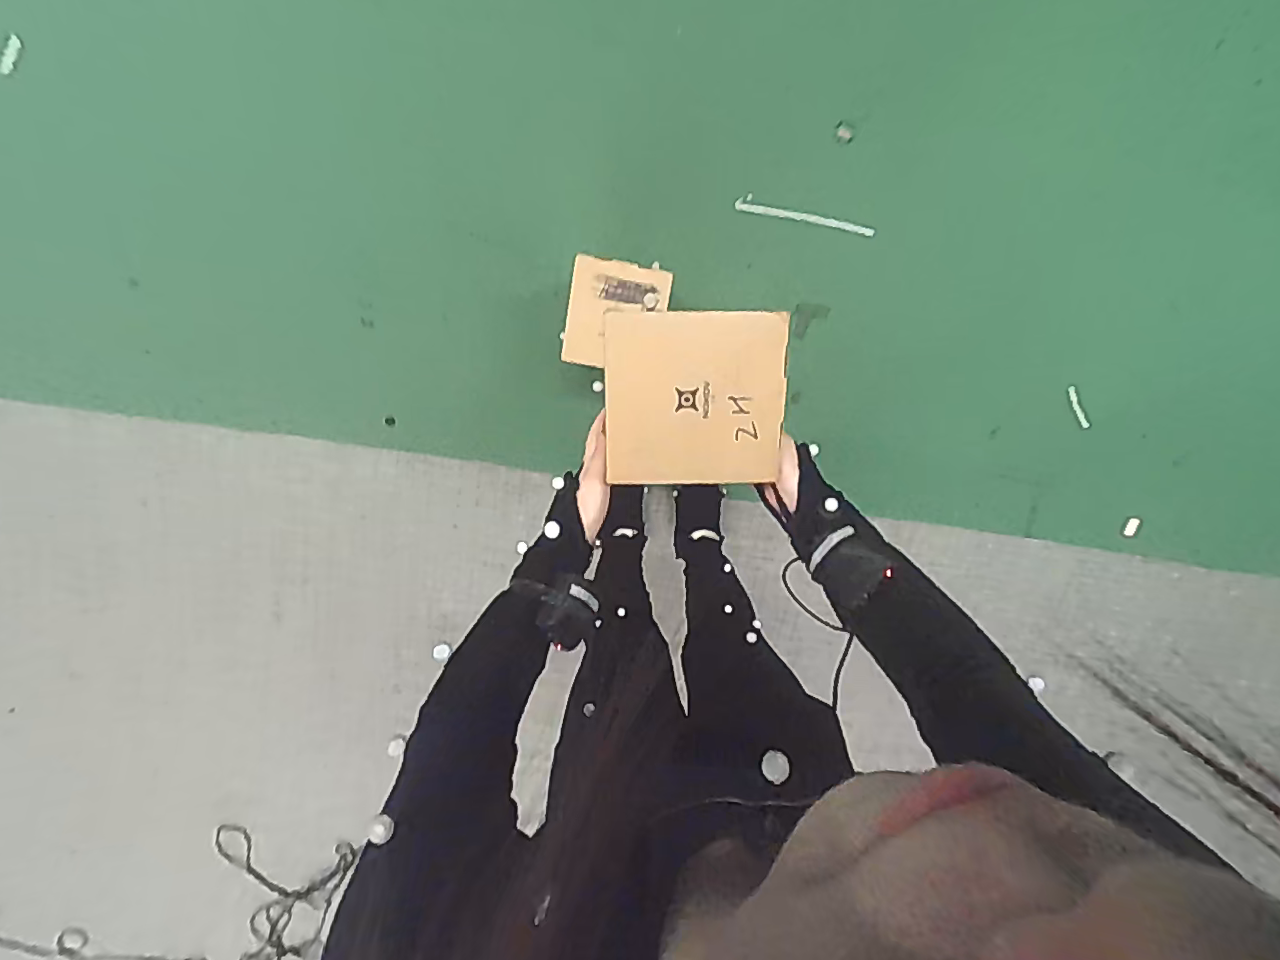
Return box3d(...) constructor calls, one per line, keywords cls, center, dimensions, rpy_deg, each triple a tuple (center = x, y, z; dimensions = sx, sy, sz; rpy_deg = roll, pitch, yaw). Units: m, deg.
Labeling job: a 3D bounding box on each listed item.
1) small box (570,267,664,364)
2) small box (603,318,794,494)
box3d(cls="small box", center=(-0.047, -0.335, 1.145), dimensions=(0.168, 0.176, 0.179), rpy_deg=(9, 103, -4))
box3d(cls="small box", center=(0.049, -0.088, 0.589), dimensions=(0.179, 0.176, 0.168), rpy_deg=(0, 107, -4))
